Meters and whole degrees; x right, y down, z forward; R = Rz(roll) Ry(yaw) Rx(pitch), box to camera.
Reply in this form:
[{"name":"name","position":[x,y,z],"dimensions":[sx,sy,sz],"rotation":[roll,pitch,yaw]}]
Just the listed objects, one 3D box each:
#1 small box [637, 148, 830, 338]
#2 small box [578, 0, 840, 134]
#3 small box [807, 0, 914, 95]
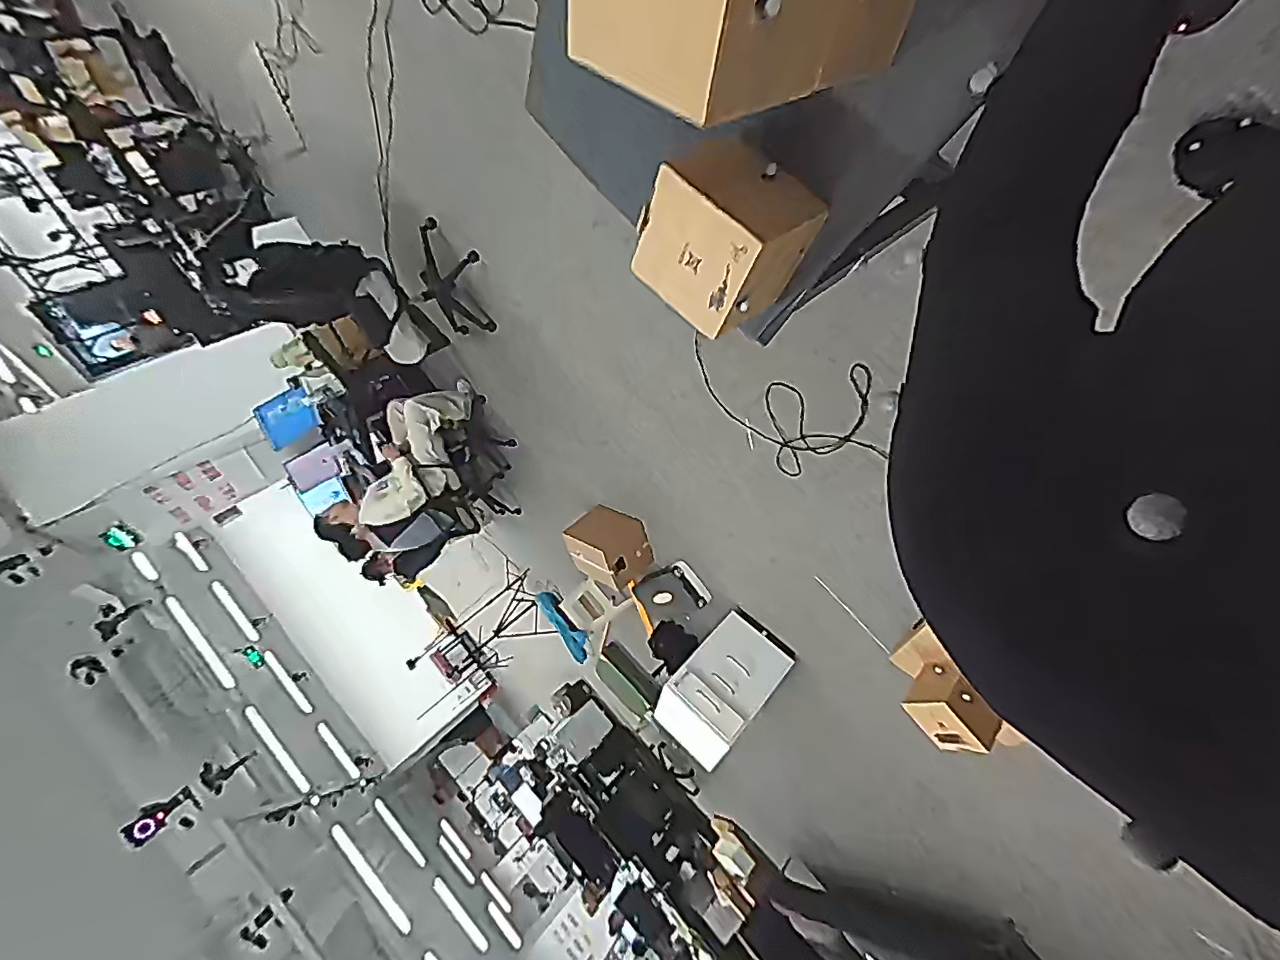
[{"name":"small box","position":[0.129,-0.343,0.774],"dimensions":[0.179,0.176,0.168],"rotation":[45,149,12]},{"name":"small box","position":[0.067,-0.429,0.448],"dimensions":[0.168,0.176,0.179],"rotation":[40,147,19]},{"name":"small box","position":[0.178,-0.518,0.532],"dimensions":[0.168,0.176,0.179],"rotation":[38,146,21]}]
